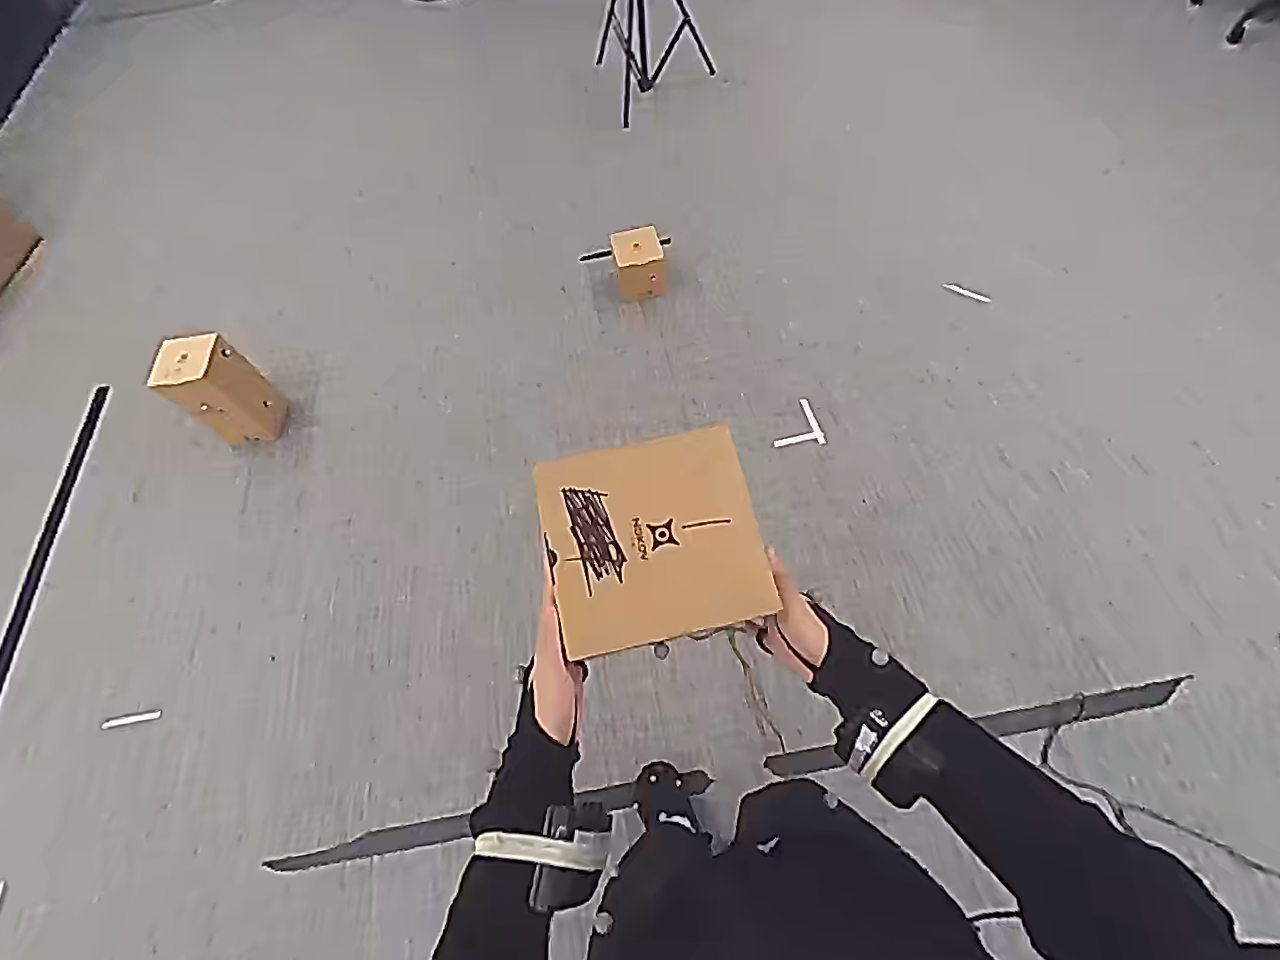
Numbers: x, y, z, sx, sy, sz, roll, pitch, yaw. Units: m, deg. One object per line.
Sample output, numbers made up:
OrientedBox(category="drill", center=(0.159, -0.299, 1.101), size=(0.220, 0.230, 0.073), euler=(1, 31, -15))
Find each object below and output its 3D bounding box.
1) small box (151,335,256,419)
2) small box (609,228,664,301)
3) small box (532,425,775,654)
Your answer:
OrientedBox(category="small box", center=(-1.315, -0.310, 1.644), size=(0.168, 0.176, 0.179), euler=(-8, 63, 1))
OrientedBox(category="small box", center=(-0.009, -0.776, 1.969), size=(0.168, 0.176, 0.179), euler=(-13, 61, -3))
OrientedBox(category="small box", center=(0.009, 0.067, 0.520), size=(0.179, 0.176, 0.168), euler=(-12, 74, -3))
